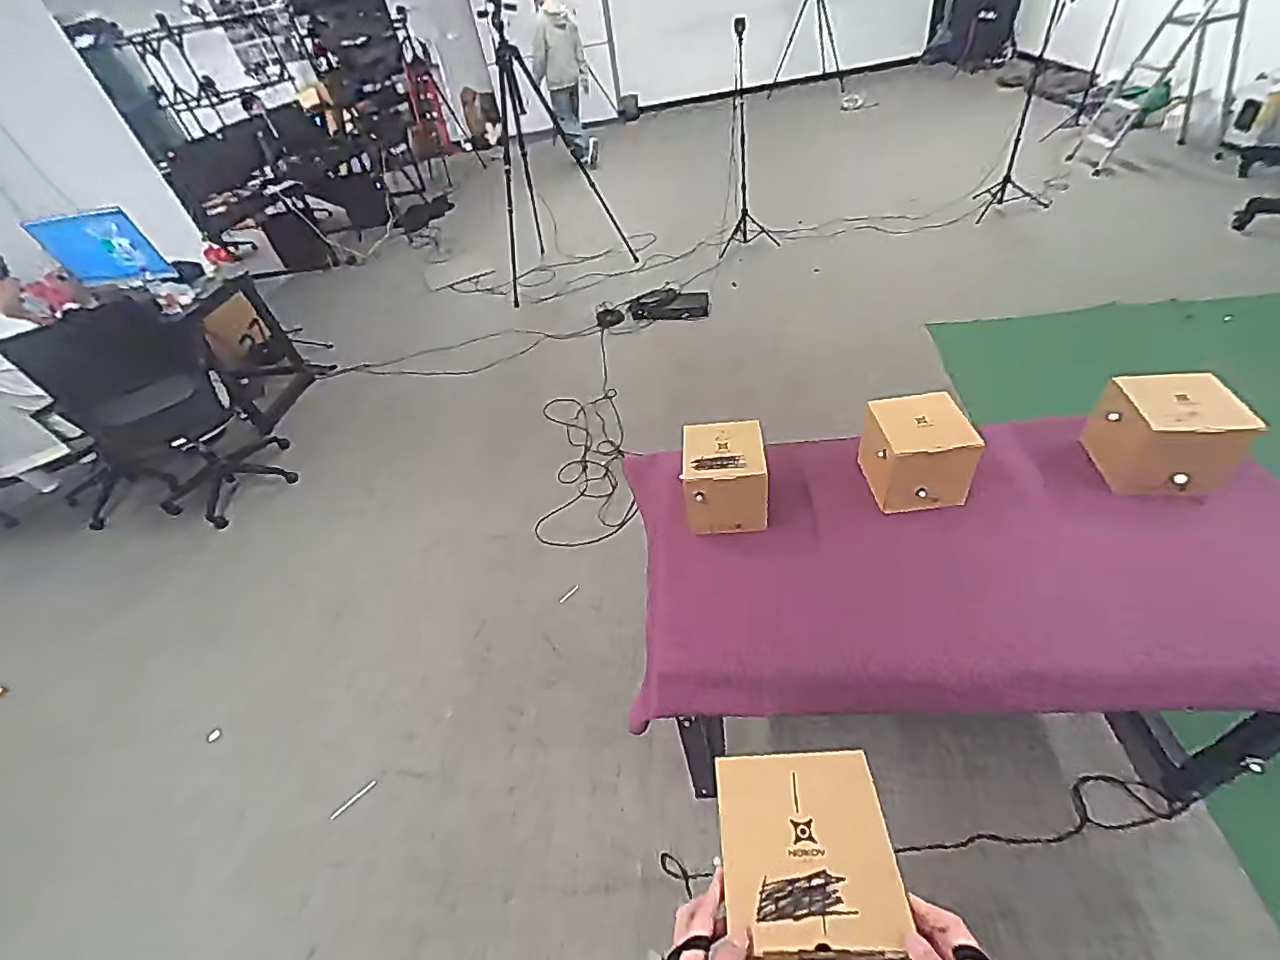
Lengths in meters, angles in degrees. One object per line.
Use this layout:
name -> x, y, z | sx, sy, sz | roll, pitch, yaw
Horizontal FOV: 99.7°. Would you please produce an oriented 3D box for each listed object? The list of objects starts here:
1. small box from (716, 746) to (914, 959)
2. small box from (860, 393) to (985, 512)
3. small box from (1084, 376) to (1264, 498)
small box -> 0.177, 0.419, 0.587 | 0.168, 0.176, 0.179 | -7, 36, 8
small box -> 0.577, -0.057, 1.133 | 0.168, 0.176, 0.179 | -7, 45, 5
small box -> 1.022, -0.085, 1.059 | 0.168, 0.176, 0.179 | 0, 45, 14
